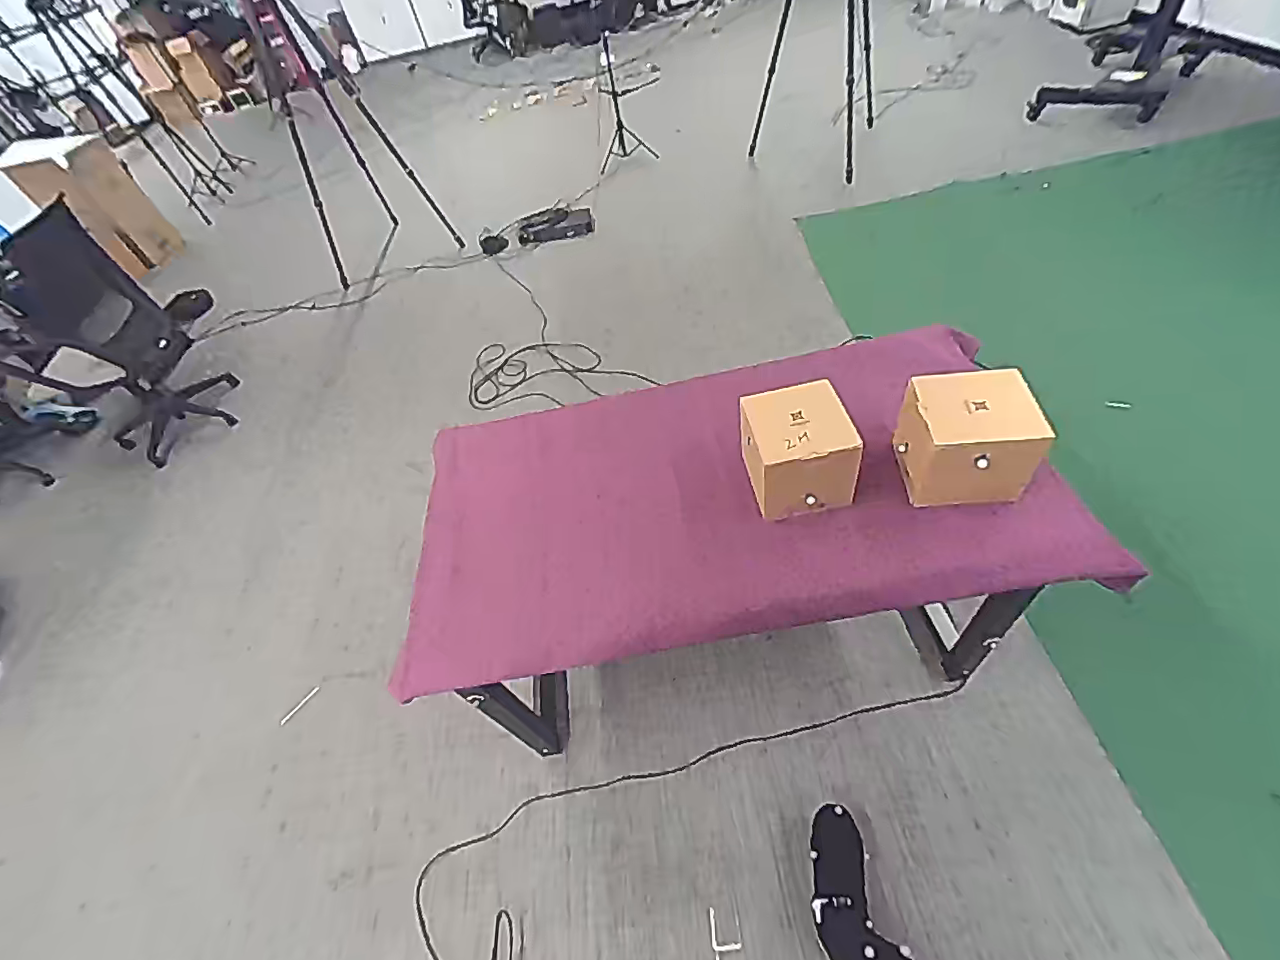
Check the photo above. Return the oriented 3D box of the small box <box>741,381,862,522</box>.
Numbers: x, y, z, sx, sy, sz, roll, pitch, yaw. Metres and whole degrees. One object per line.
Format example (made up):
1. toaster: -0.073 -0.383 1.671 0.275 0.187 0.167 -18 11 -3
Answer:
1. small box: 0.285 -0.049 0.993 0.168 0.176 0.179 -12 50 4

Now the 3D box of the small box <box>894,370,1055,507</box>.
1. small box: 0.565 -0.068 0.943 0.179 0.176 0.168 -4 51 11
